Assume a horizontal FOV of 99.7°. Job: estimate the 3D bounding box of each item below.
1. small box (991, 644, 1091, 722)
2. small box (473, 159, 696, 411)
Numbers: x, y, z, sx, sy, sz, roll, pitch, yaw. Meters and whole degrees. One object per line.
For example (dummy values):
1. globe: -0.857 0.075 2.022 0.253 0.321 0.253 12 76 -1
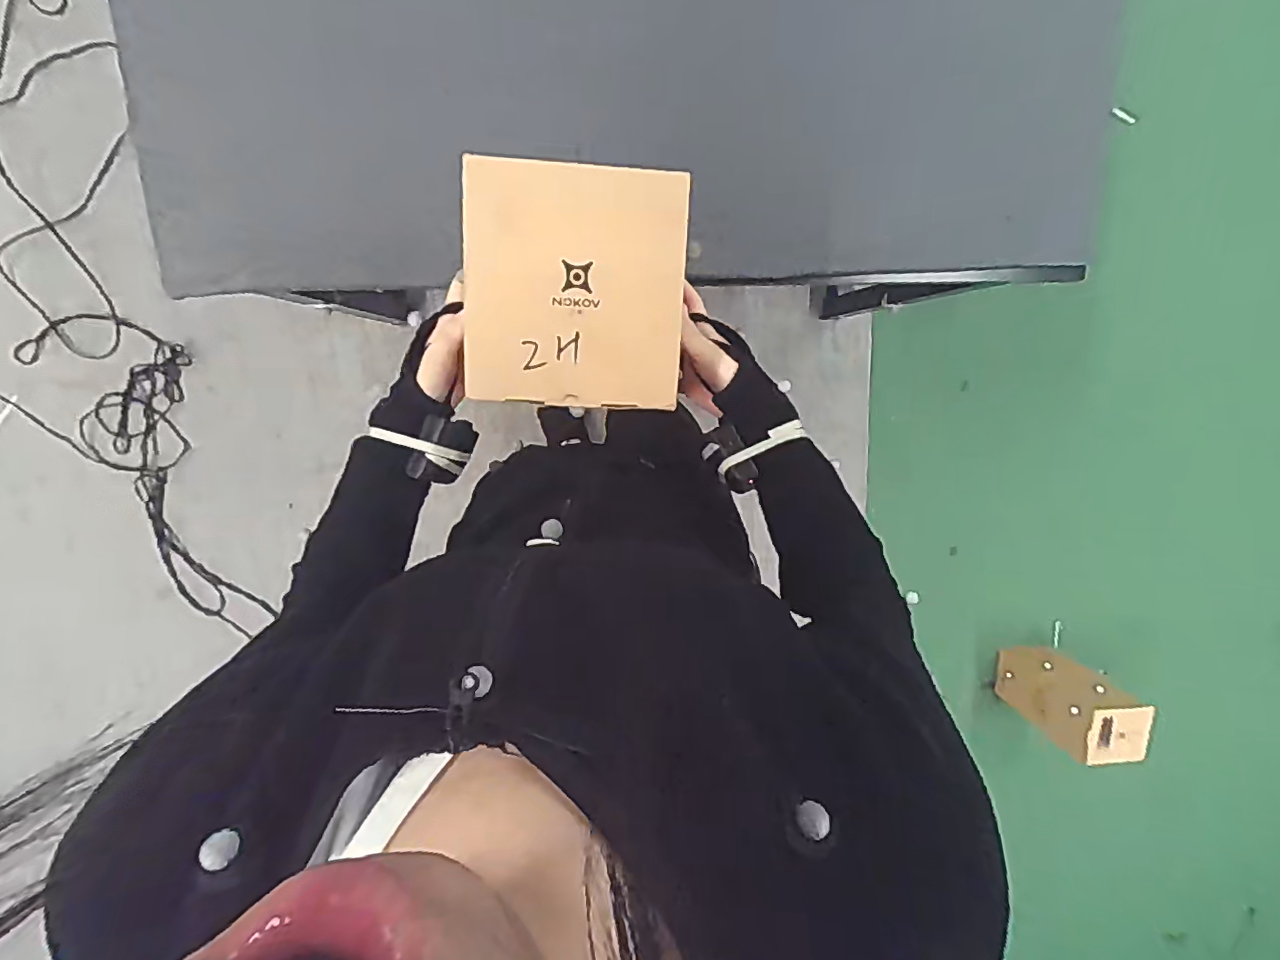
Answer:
1. small box: 1.243 0.626 1.687 0.179 0.176 0.168 -2 102 -6
2. small box: -0.050 -0.158 0.491 0.168 0.176 0.179 2 100 -5
